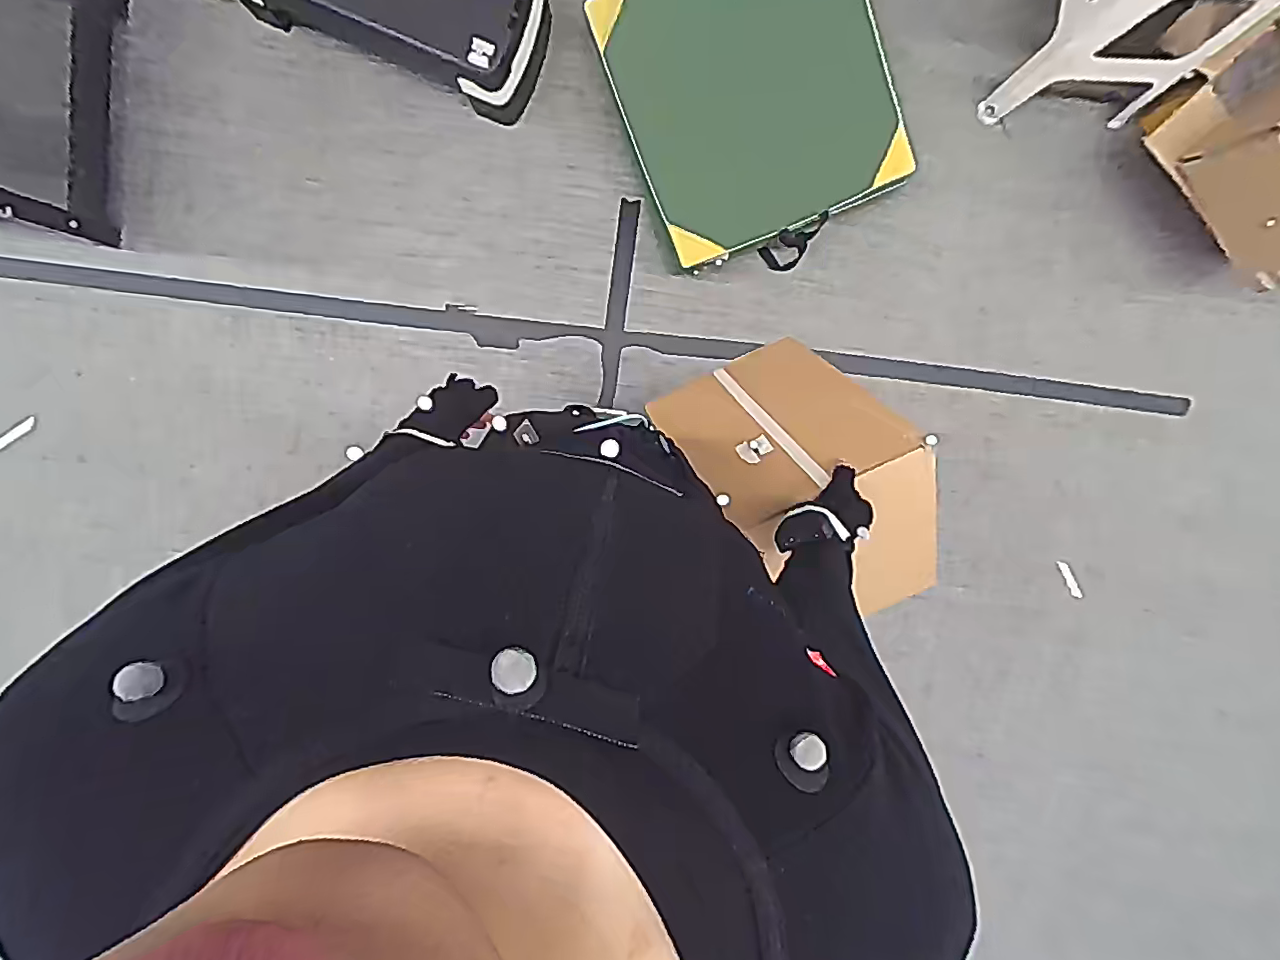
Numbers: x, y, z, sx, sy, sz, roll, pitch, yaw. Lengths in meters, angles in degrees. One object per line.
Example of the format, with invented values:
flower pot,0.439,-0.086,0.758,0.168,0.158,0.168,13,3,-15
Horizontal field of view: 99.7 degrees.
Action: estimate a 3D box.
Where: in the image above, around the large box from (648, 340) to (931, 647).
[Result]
large box,0.254,0.010,0.978,0.320,0.408,0.320,-26,129,1
